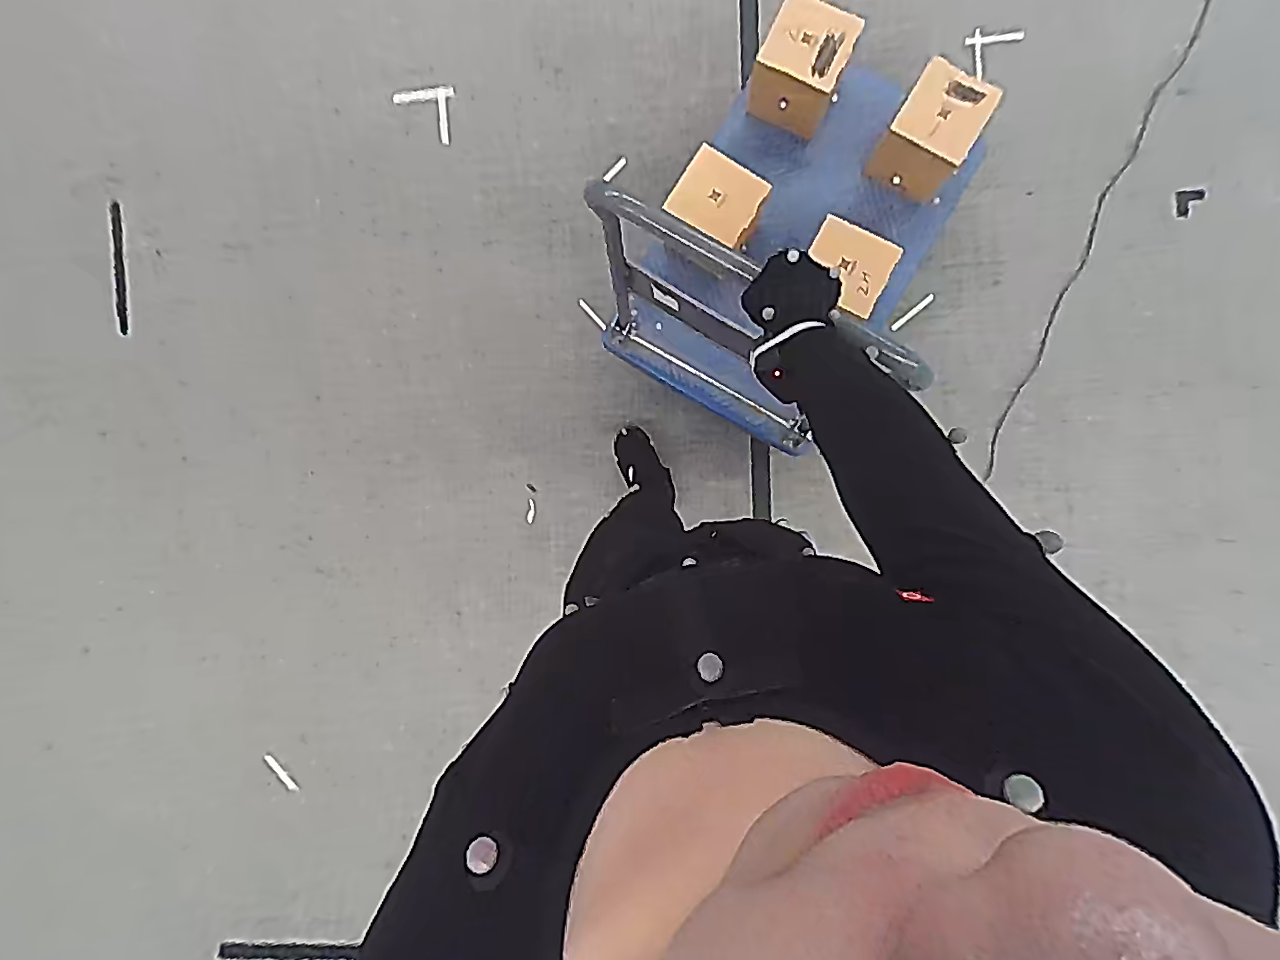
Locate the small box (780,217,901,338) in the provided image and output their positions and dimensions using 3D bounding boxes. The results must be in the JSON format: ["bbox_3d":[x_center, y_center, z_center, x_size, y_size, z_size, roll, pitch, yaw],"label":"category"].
[{"bbox_3d":[0.435,-0.440,1.207,0.179,0.176,0.168,28,92,3],"label":"small box"}]

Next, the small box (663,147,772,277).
[{"bbox_3d":[0.166,-0.593,1.224,0.179,0.176,0.168,33,91,1],"label":"small box"}]

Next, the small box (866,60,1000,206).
[{"bbox_3d":[0.634,-0.756,1.197,0.168,0.176,0.179,31,93,3],"label":"small box"}]
